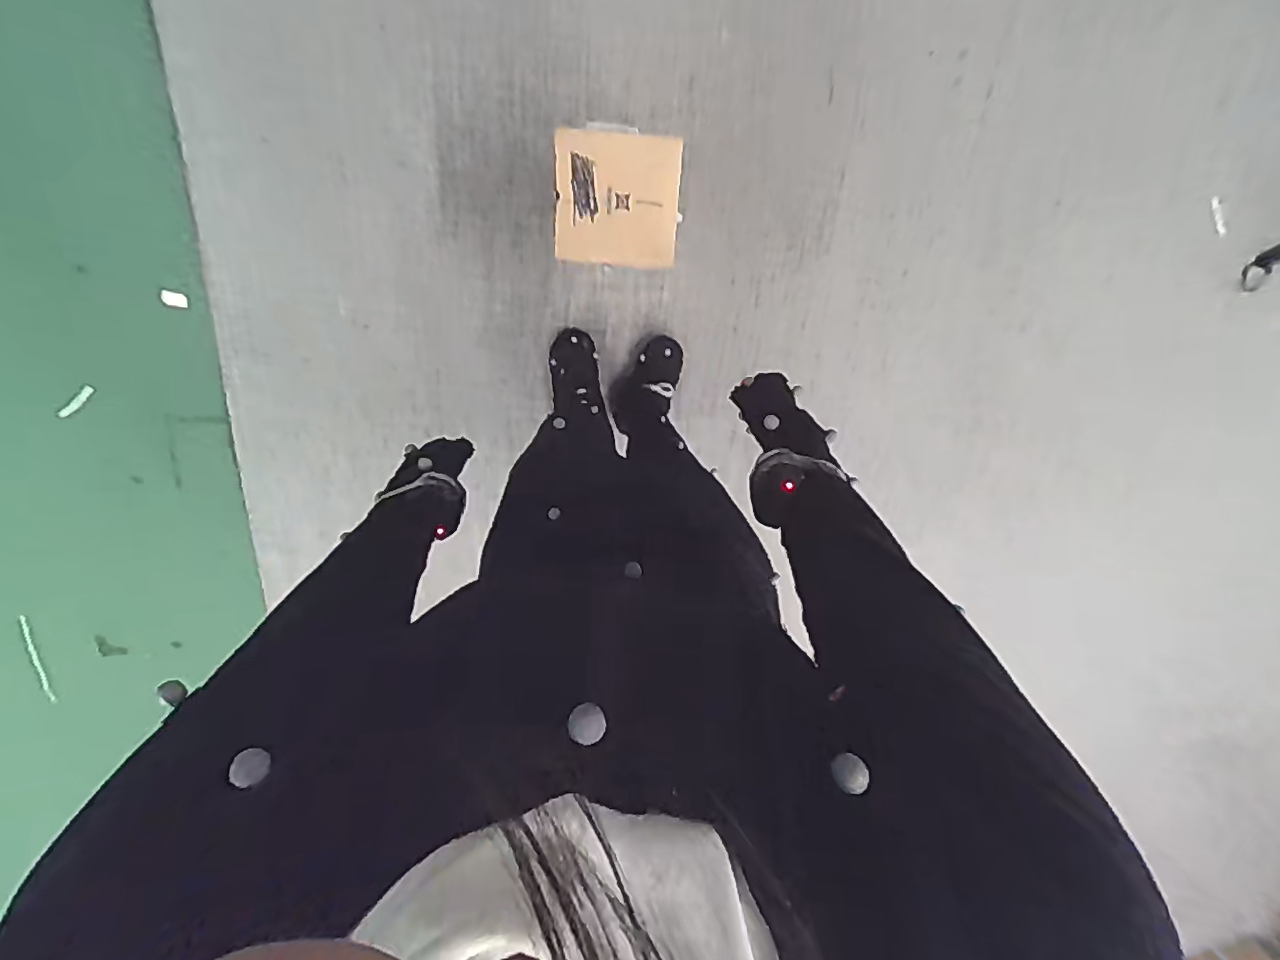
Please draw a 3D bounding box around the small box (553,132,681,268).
[{"bbox_3d":[-0.037,-0.426,0.847,0.179,0.176,0.168,3,112,-3],"label":"small box"}]
